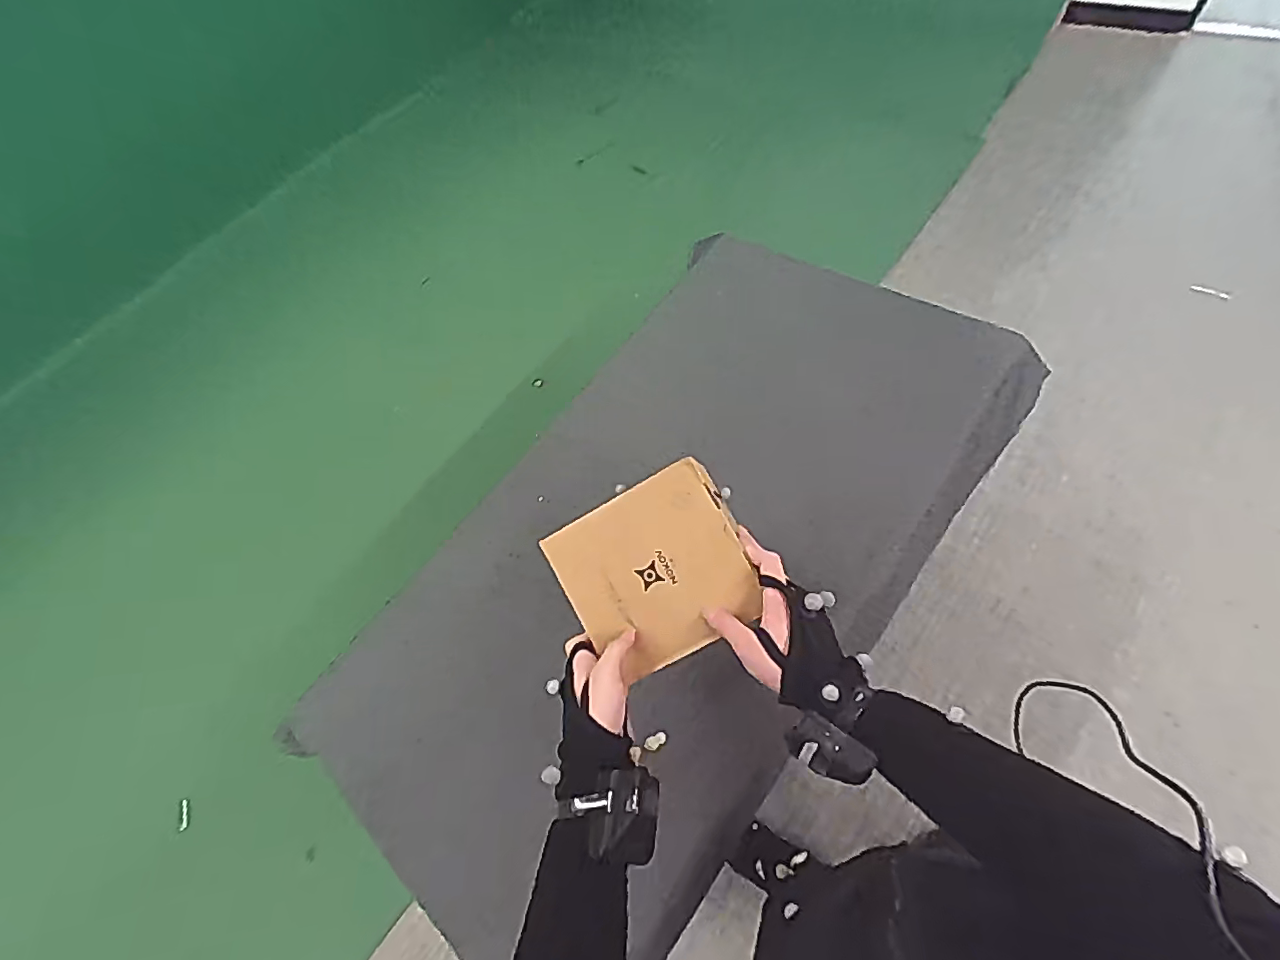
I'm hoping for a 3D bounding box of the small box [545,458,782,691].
[{"bbox_3d":[0.032,0.091,0.582,0.179,0.176,0.168,-29,81,10],"label":"small box"}]
